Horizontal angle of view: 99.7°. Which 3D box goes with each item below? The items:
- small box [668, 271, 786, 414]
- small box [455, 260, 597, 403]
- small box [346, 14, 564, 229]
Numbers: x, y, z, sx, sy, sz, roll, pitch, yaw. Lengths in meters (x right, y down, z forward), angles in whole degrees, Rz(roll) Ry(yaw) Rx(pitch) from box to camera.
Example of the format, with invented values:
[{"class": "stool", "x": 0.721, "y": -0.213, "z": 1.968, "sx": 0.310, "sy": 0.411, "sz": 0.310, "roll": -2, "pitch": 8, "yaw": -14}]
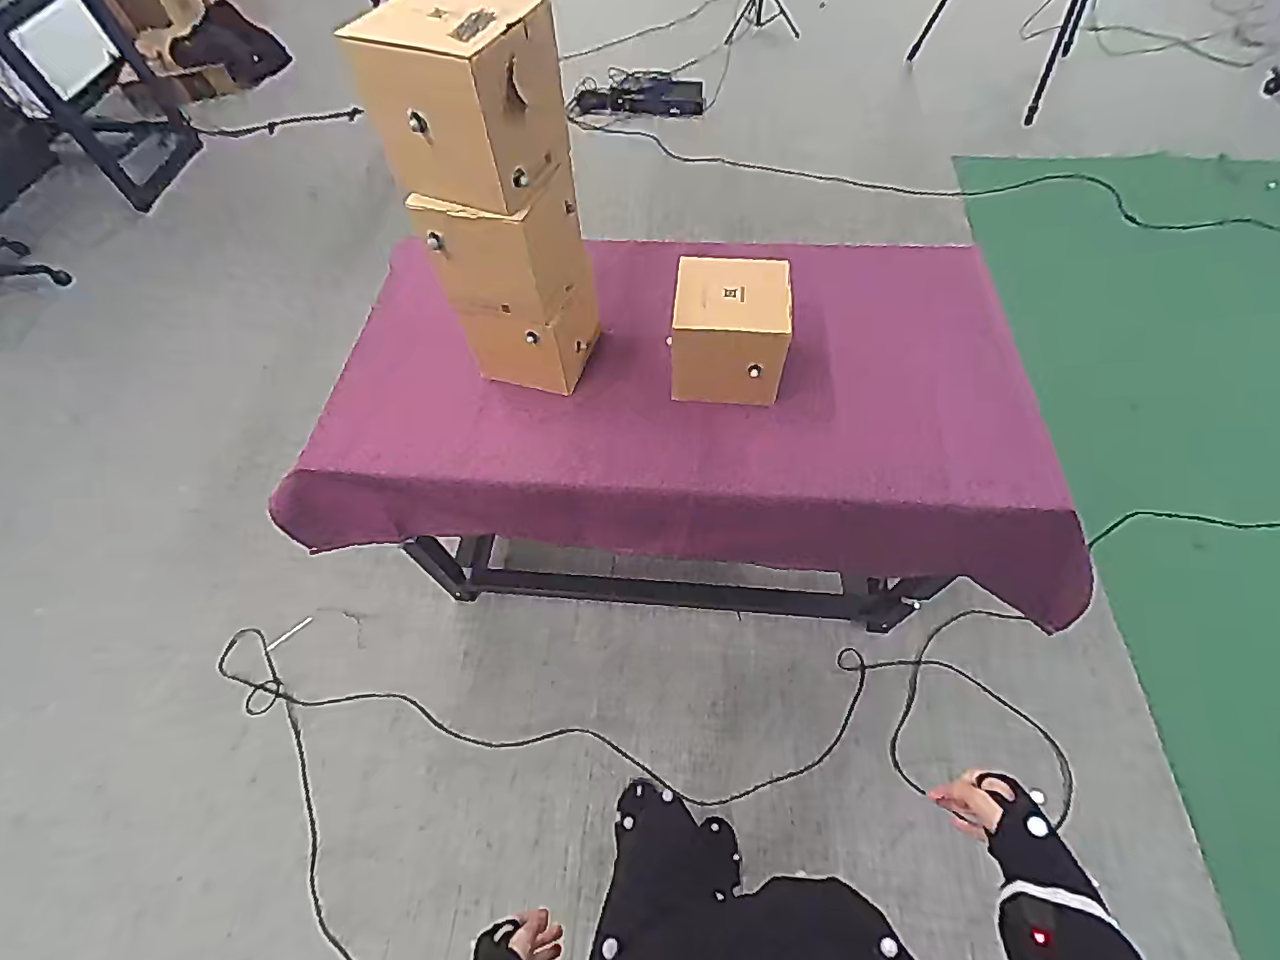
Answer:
[{"class": "small box", "x": 0.142, "y": -0.227, "z": 0.913, "sx": 0.179, "sy": 0.176, "sz": 0.168, "roll": 4, "pitch": 57, "yaw": 6}, {"class": "small box", "x": -0.187, "y": -0.256, "z": 0.950, "sx": 0.179, "sy": 0.176, "sz": 0.168, "roll": 12, "pitch": 59, "yaw": 10}, {"class": "small box", "x": -0.213, "y": -0.446, "z": 0.683, "sx": 0.179, "sy": 0.176, "sz": 0.168, "roll": 19, "pitch": 60, "yaw": 15}]
